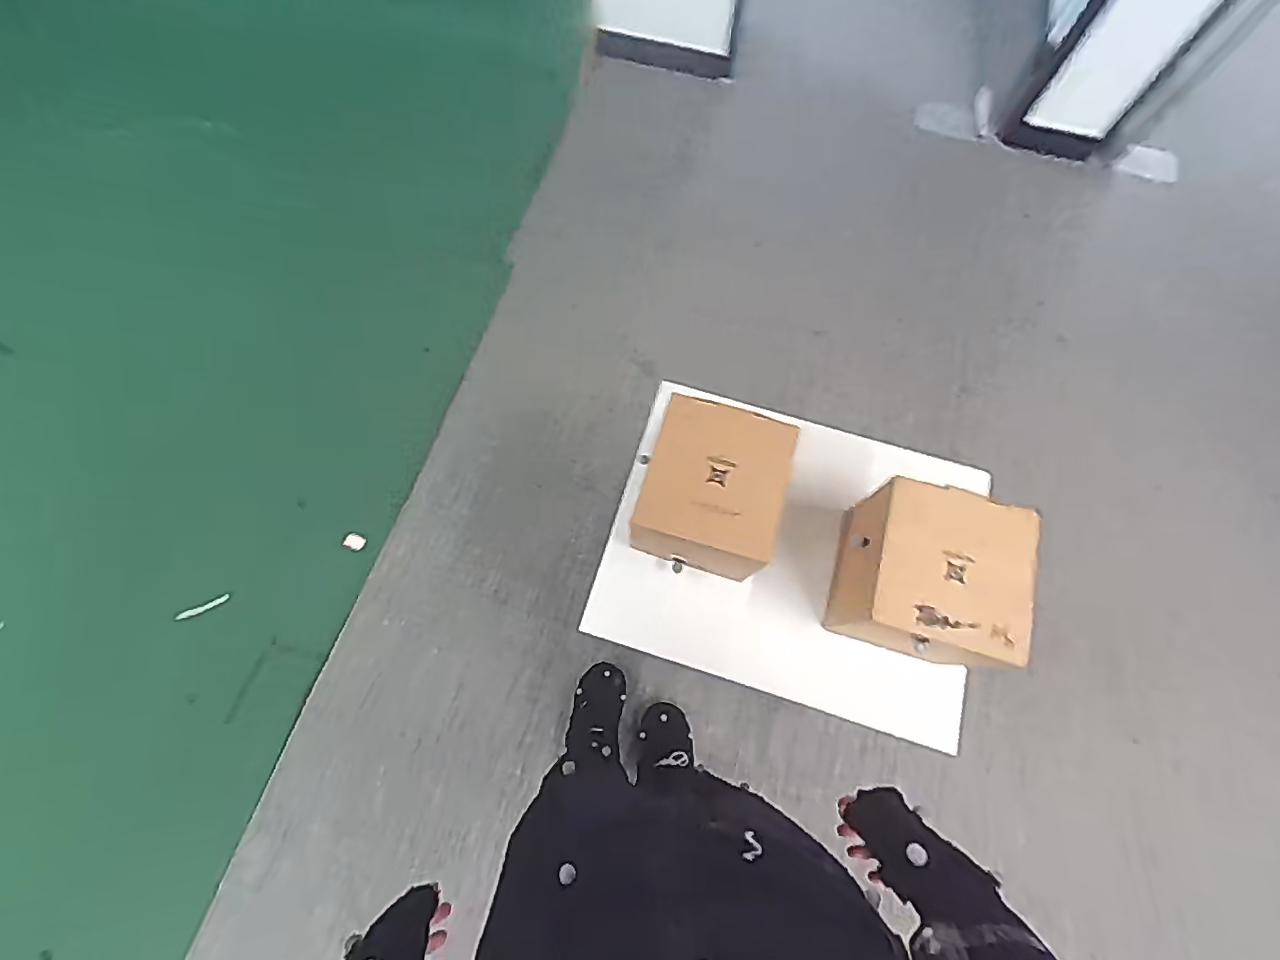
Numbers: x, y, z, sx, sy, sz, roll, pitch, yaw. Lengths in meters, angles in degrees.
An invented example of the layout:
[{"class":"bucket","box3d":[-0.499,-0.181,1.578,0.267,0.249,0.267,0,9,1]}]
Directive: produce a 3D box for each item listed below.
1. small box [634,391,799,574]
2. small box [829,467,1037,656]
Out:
[{"class":"small box","box3d":[0.092,0.012,0.707,0.168,0.176,0.179,14,75,5]},{"class":"small box","box3d":[0.350,0.109,0.673,0.168,0.176,0.179,15,72,6]}]
